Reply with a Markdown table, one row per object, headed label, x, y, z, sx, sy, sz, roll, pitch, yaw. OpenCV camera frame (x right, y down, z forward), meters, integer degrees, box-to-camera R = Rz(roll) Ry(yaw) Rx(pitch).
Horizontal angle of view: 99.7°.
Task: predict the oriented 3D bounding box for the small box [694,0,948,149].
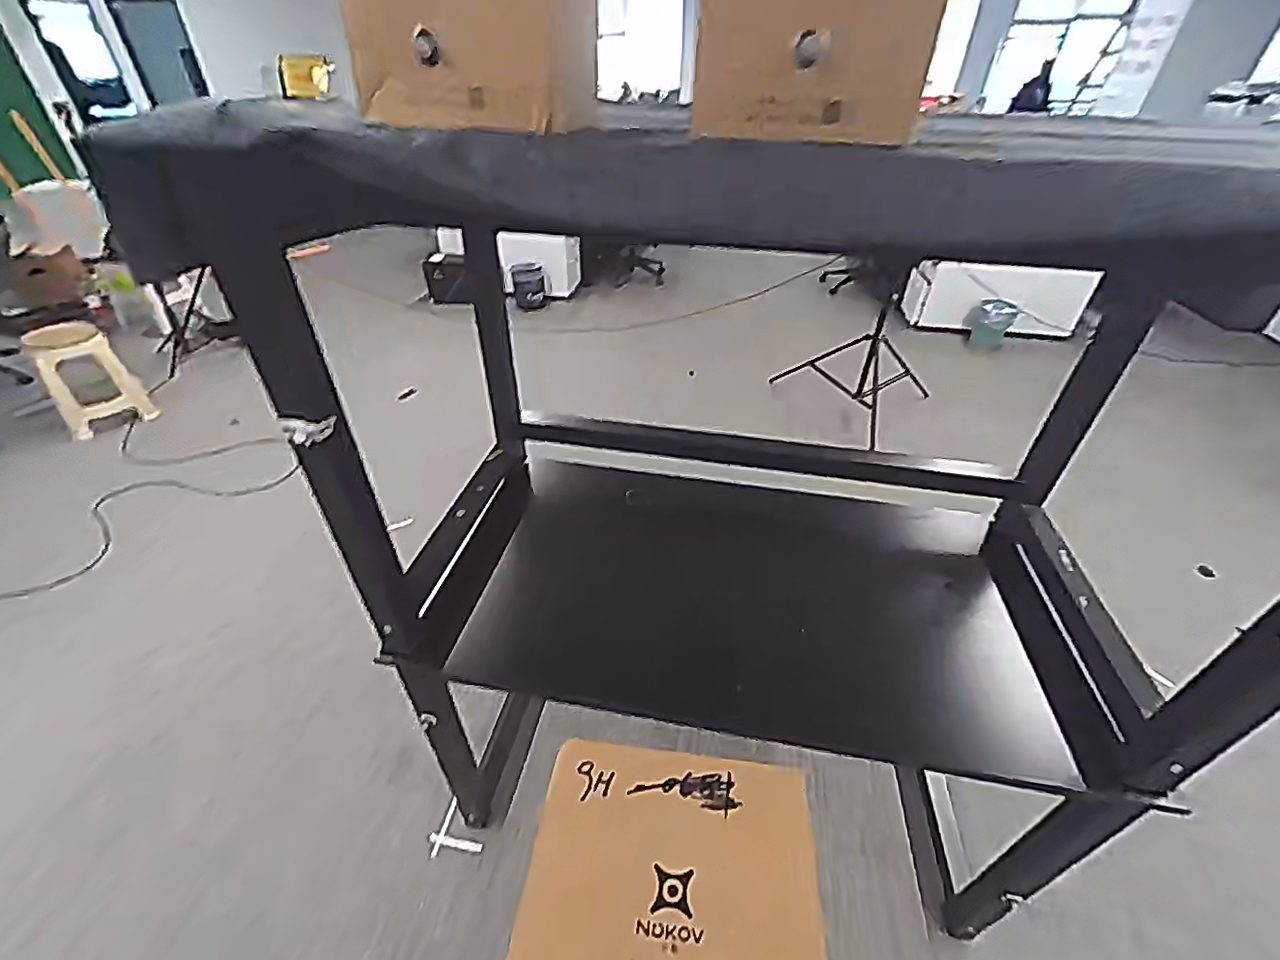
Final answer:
| label | x | y | z | sx | sy | sz | roll | pitch | yaw |
| --- | --- | --- | --- | --- | --- | --- | --- | --- | --- |
| small box | 0.136 | -0.370 | 0.427 | 0.168 | 0.176 | 0.179 | 7 | 36 | 8 |

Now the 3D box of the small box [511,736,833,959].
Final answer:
| label | x | y | z | sx | sy | sz | roll | pitch | yaw |
| --- | --- | --- | --- | --- | --- | --- | --- | --- | --- |
| small box | 0.019 | 0.295 | 0.339 | 0.168 | 0.176 | 0.179 | 5 | 37 | 5 |

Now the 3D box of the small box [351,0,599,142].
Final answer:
| label | x | y | z | sx | sy | sz | roll | pitch | yaw |
| --- | --- | --- | --- | --- | --- | --- | --- | --- | --- |
| small box | -0.133 | -0.401 | 0.465 | 0.168 | 0.176 | 0.179 | 7 | 36 | 6 |
